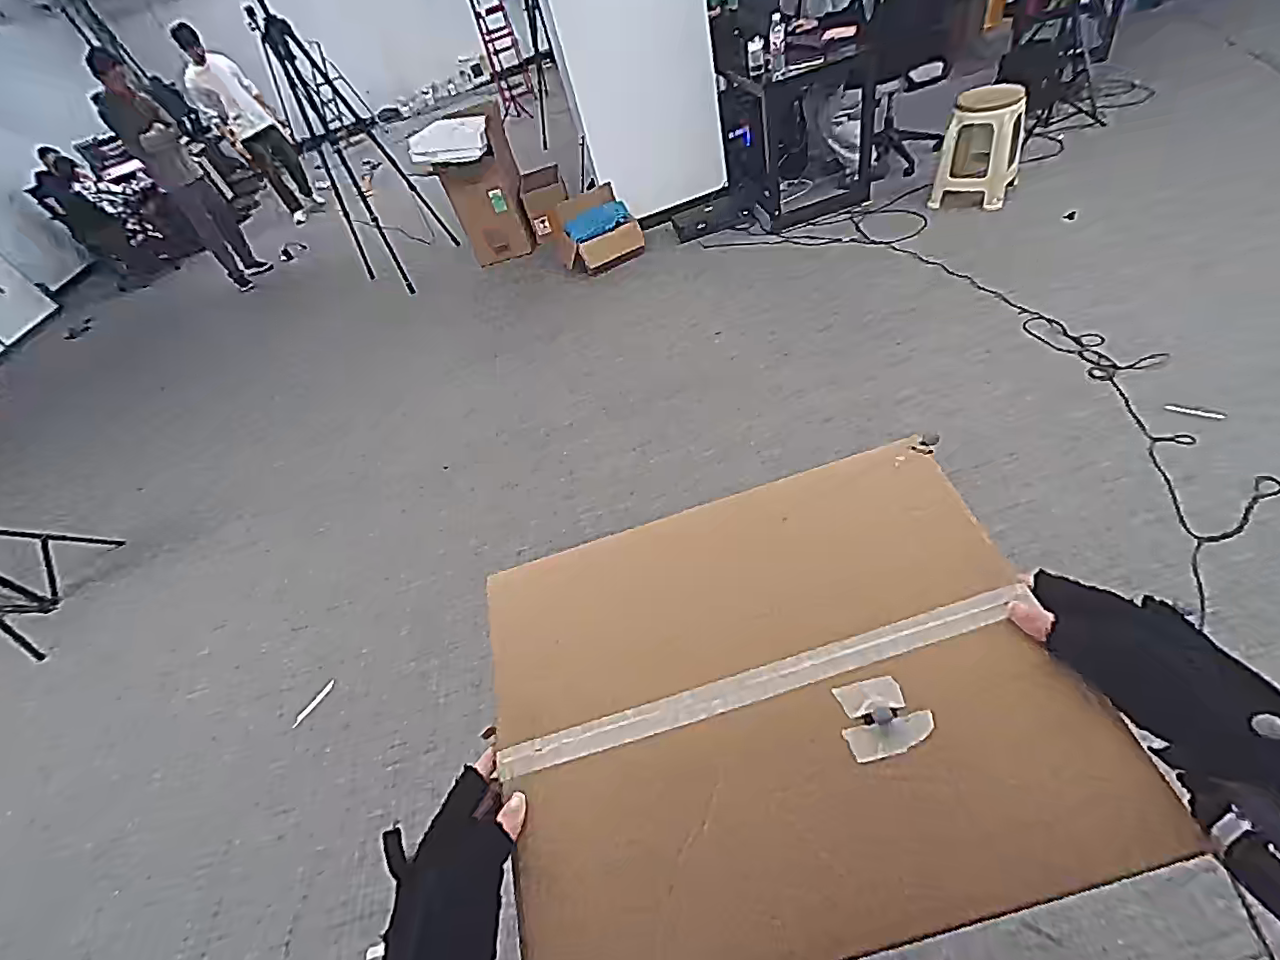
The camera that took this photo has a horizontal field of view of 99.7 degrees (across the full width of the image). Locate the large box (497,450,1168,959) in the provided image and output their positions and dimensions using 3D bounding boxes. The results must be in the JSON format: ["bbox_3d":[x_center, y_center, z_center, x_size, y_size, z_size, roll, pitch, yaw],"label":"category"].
[{"bbox_3d":[0.121,0.235,0.531,0.408,0.320,0.320,-19,56,1],"label":"large box"}]
